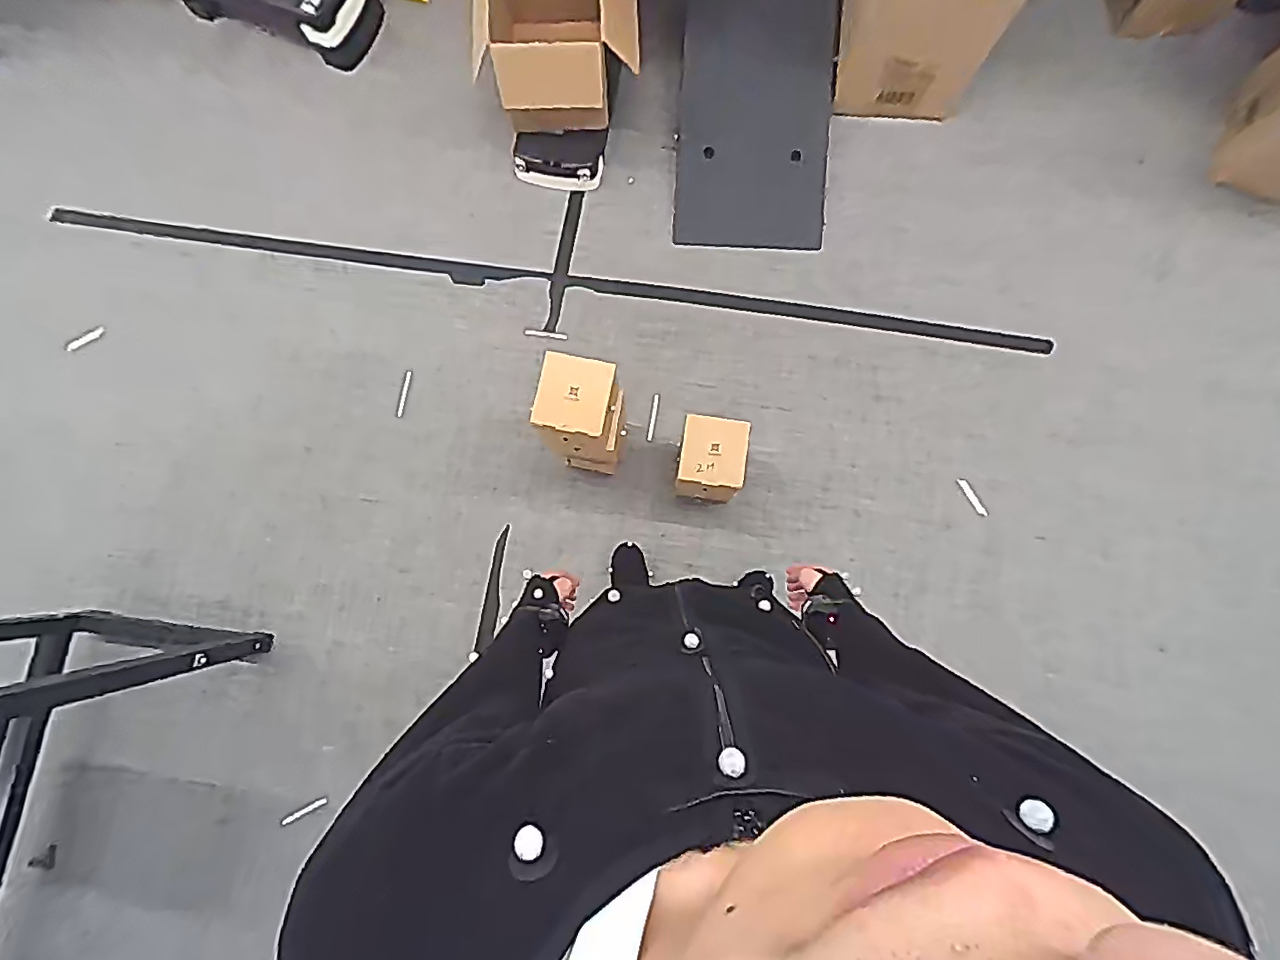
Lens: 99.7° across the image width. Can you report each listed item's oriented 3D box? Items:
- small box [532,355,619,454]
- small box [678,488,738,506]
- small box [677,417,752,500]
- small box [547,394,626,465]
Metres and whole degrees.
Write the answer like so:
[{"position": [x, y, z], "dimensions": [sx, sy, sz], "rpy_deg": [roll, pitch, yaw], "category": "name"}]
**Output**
[{"position": [-0.147, -0.174, 1.293], "dimensions": [0.168, 0.176, 0.179], "rpy_deg": [11, 83, 1], "category": "small box"}, {"position": [0.205, -0.024, 1.600], "dimensions": [0.168, 0.176, 0.179], "rpy_deg": [7, 83, 3], "category": "small box"}, {"position": [0.191, -0.052, 1.438], "dimensions": [0.168, 0.176, 0.179], "rpy_deg": [8, 82, 3], "category": "small box"}, {"position": [-0.138, -0.142, 1.452], "dimensions": [0.179, 0.176, 0.168], "rpy_deg": [9, 82, 1], "category": "small box"}]
